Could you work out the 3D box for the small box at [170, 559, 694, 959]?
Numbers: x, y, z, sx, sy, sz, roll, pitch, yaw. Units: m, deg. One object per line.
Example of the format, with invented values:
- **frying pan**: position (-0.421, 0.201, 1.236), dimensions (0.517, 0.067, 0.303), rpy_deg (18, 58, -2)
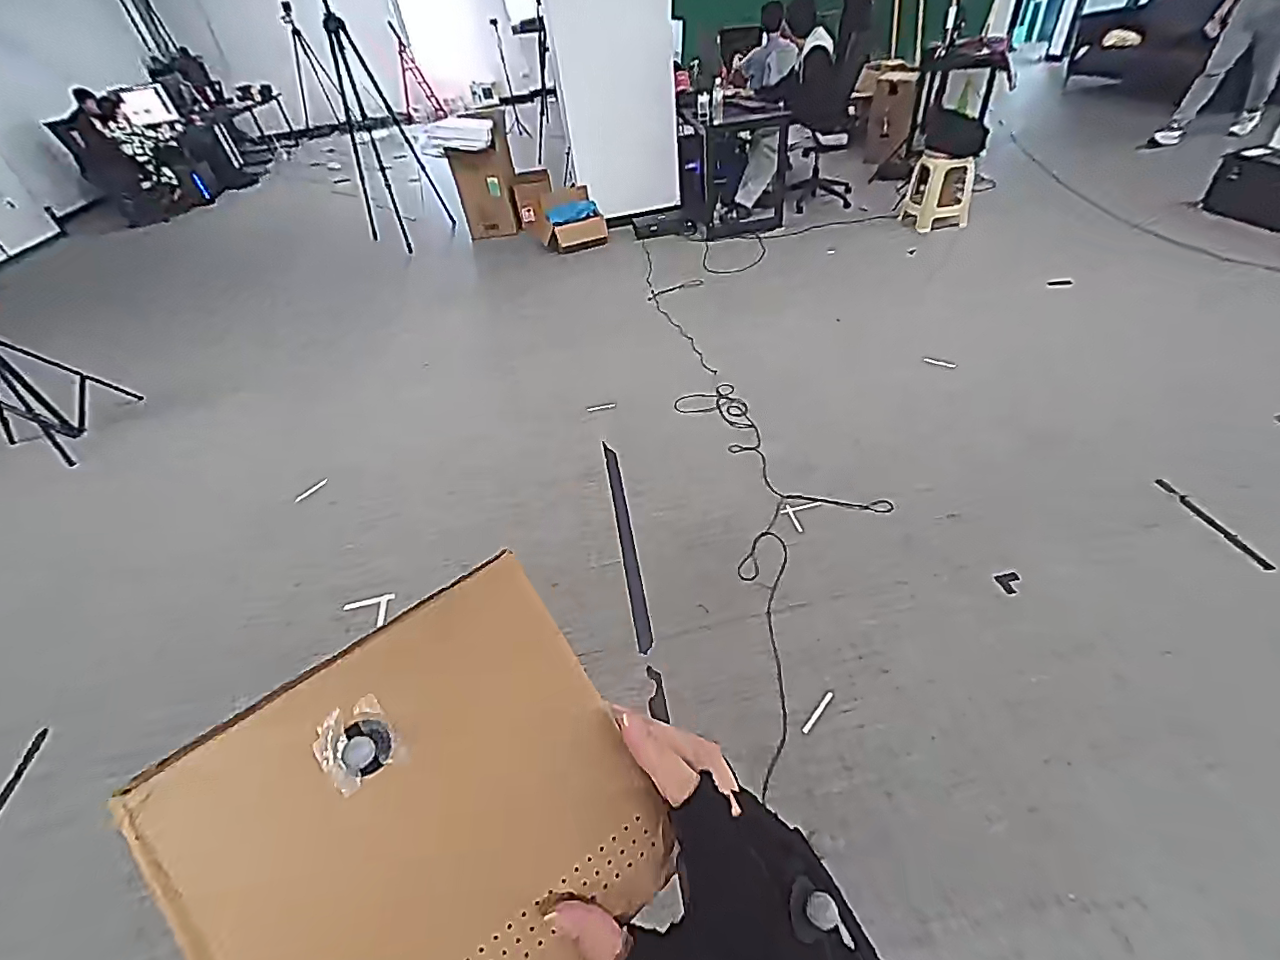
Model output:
- **small box**: position (-0.098, 0.170, 0.315), dimensions (0.179, 0.168, 0.176), rpy_deg (-31, 83, -16)
